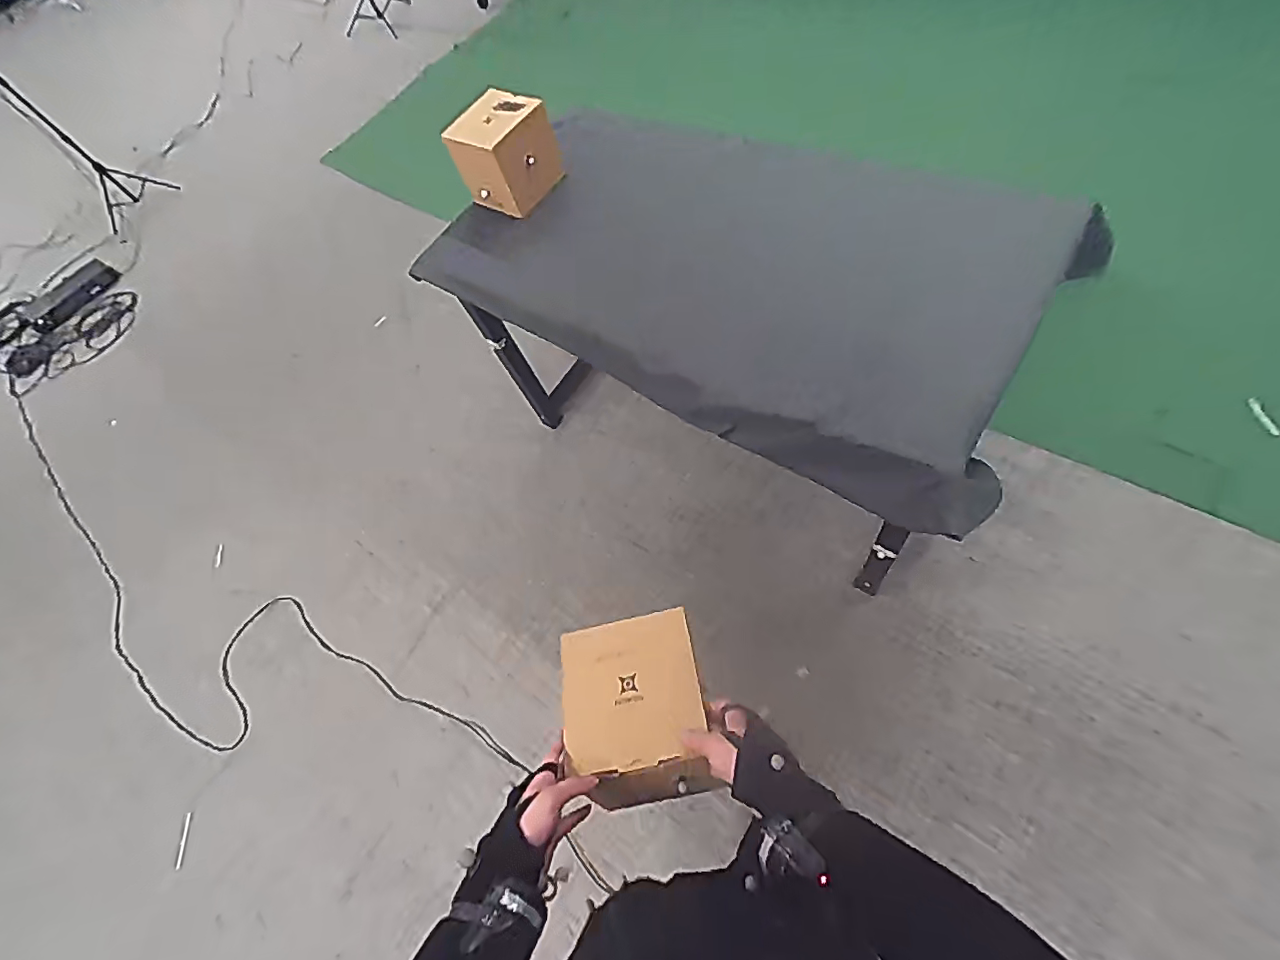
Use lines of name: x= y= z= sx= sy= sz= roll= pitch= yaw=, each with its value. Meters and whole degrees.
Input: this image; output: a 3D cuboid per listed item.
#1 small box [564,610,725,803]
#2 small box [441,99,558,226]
small box: x=0.007 y=0.301 z=0.702 sx=0.168 sy=0.176 sz=0.179 roll=-14 pitch=46 yaw=4
small box: x=-0.308 y=-0.724 z=1.241 sx=0.168 sy=0.176 sz=0.179 roll=29 pitch=74 yaw=24
